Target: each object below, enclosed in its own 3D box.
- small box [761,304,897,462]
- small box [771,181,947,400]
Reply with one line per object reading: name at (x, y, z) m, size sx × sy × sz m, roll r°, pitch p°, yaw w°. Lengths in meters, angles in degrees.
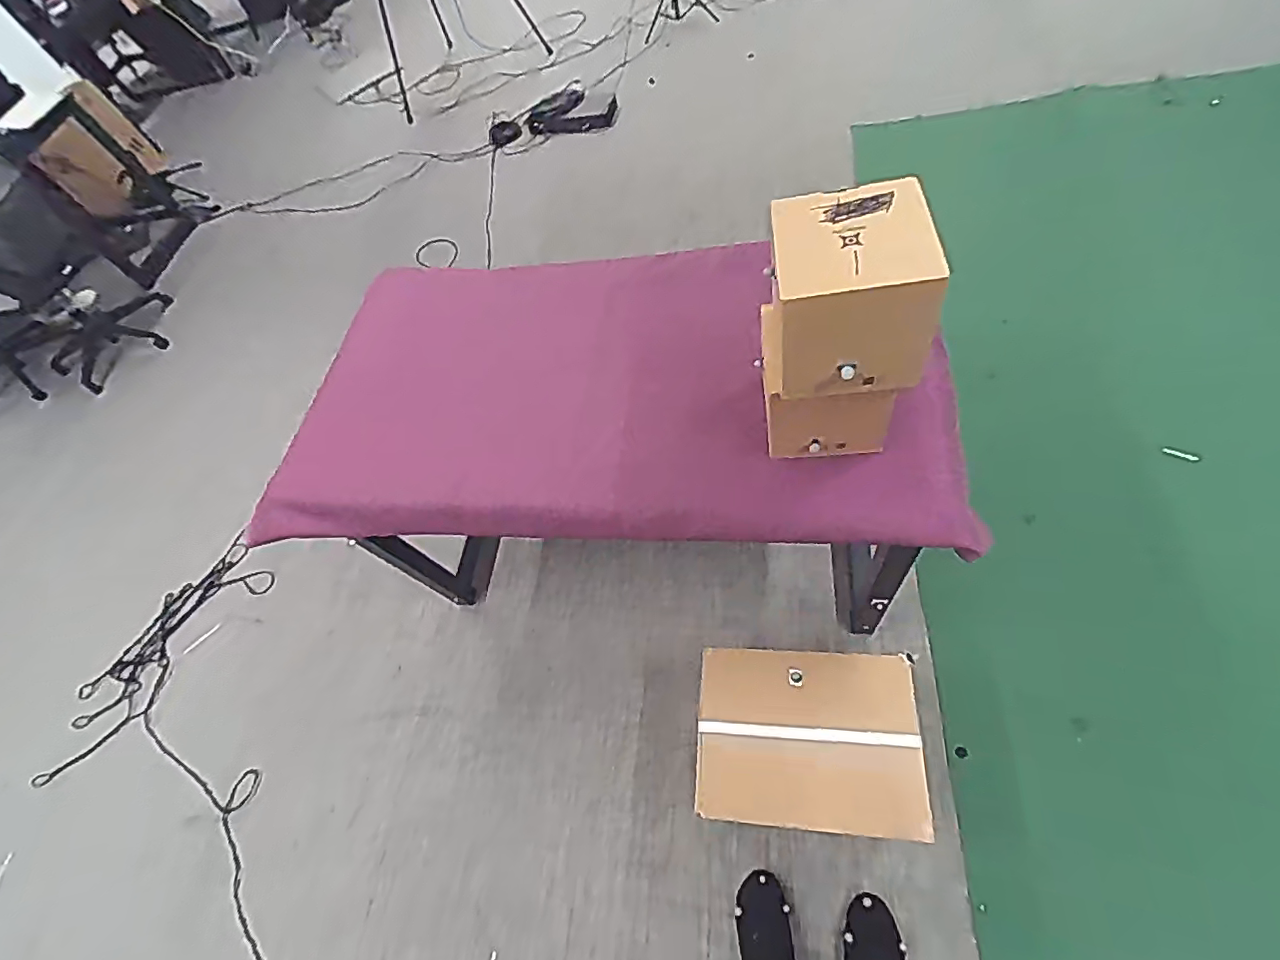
small box at (0.268, -0.146, 0.801) m, size 0.168 × 0.176 × 0.179 m, roll -4°, pitch 58°, yaw 14°
small box at (0.246, -0.221, 0.654) m, size 0.168 × 0.176 × 0.179 m, roll -4°, pitch 58°, yaw 14°
